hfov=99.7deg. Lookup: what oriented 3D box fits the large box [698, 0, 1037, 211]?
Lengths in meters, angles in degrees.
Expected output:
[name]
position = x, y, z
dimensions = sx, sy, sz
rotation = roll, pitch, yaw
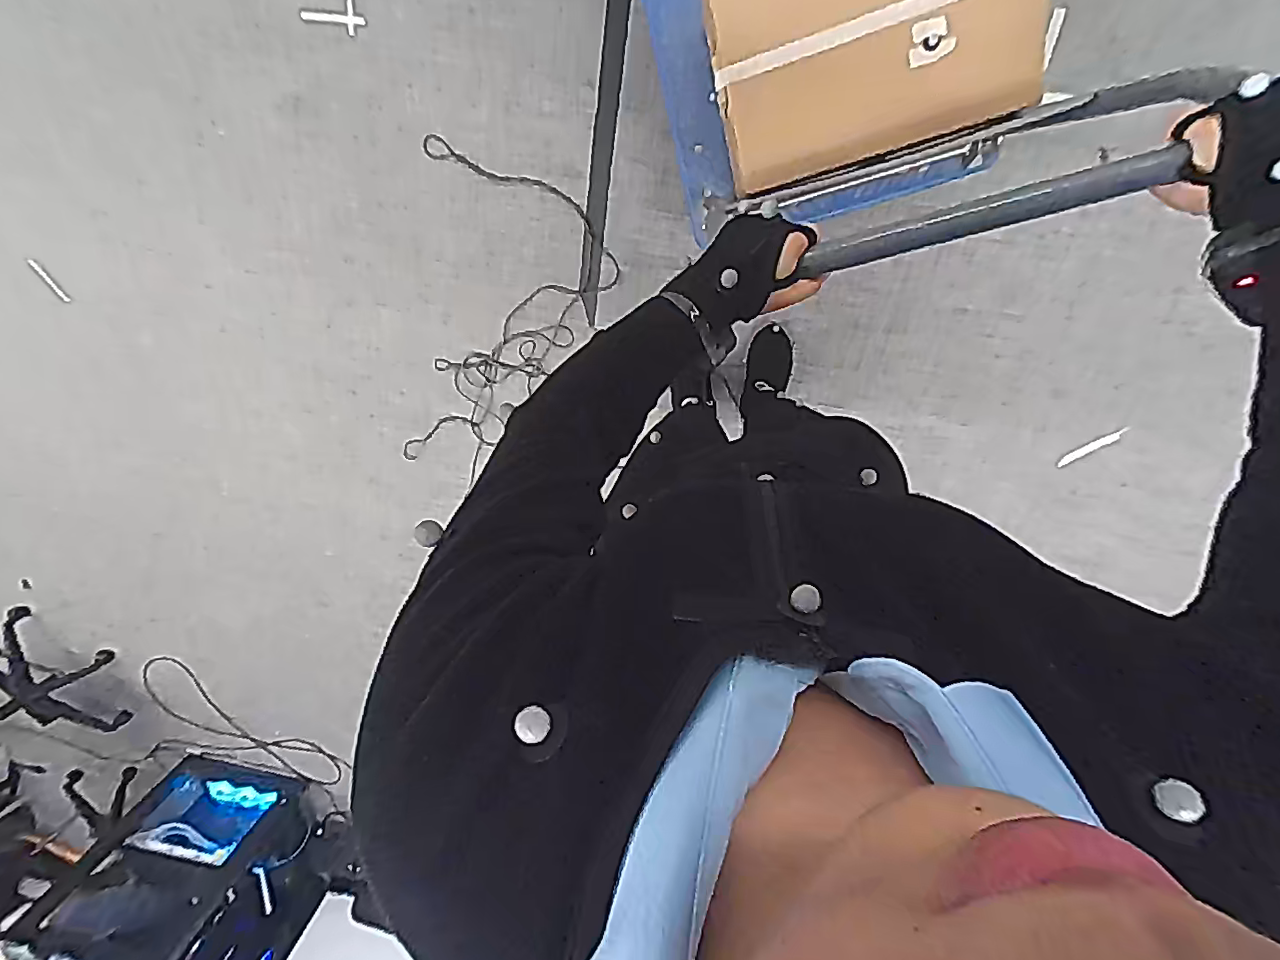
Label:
[large box]
position = 0.323, -0.655, 0.855
dimensions = 0.408, 0.320, 0.320
rotation = -12, 113, 12
